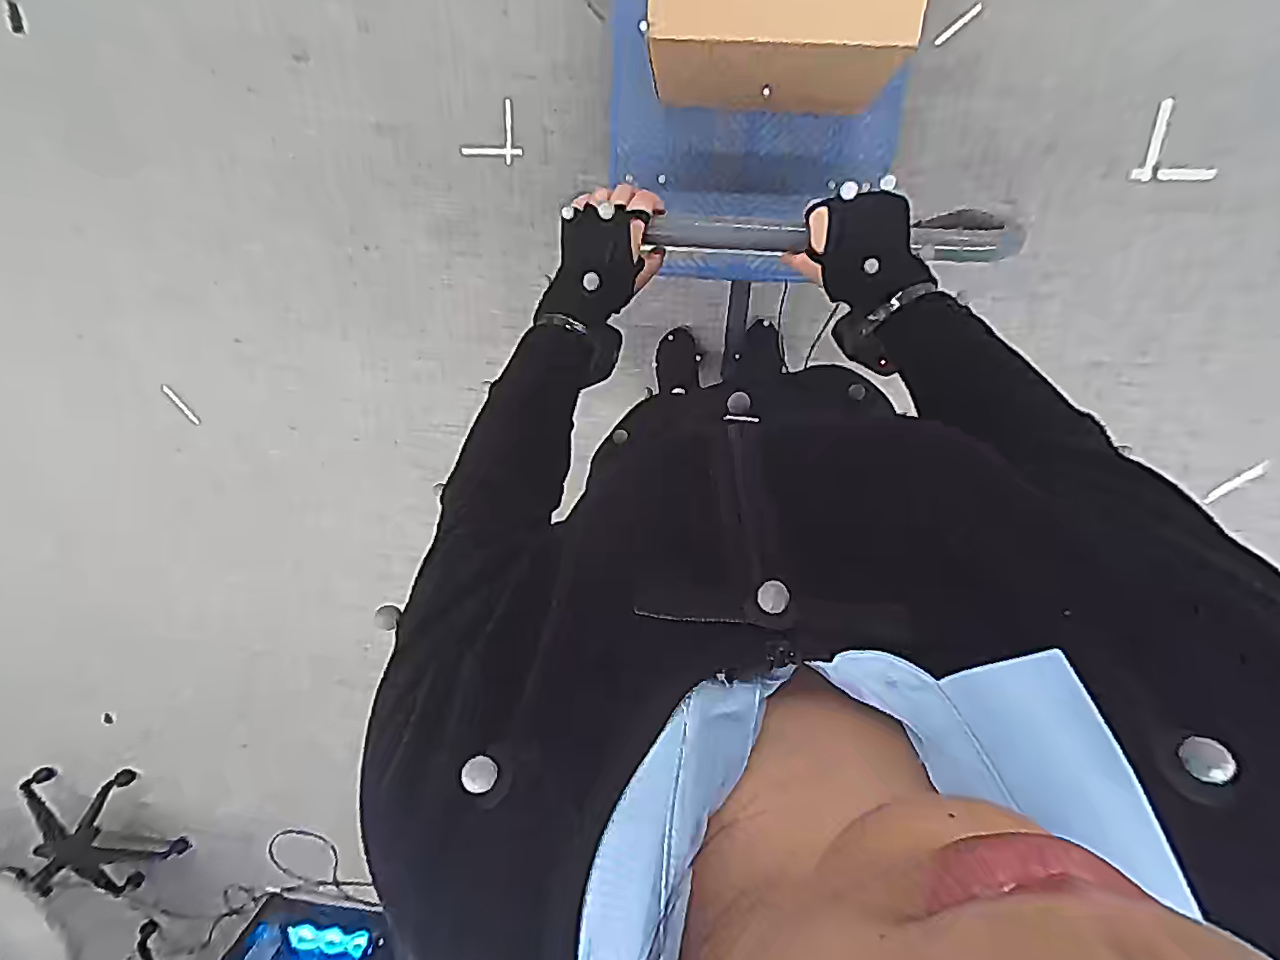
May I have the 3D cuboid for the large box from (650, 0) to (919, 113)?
[{"bbox_3d":[0.238,-0.855,0.926,0.408,0.320,0.320,5,107,5],"label":"large box"}]
